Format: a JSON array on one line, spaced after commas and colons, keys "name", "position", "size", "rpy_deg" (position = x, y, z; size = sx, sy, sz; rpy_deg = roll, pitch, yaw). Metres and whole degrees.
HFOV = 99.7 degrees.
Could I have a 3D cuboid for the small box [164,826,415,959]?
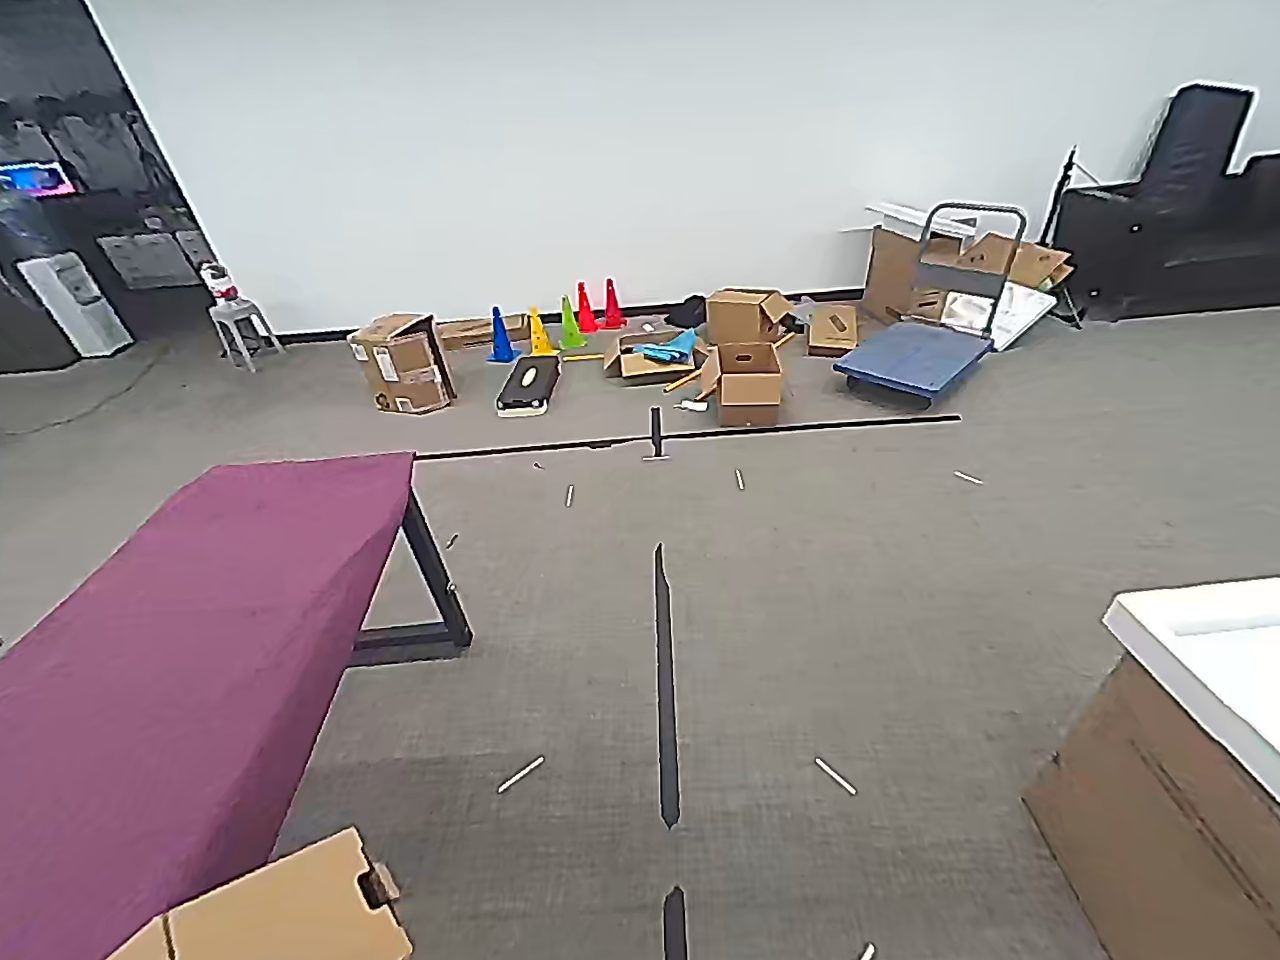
[{"name": "small box", "position": [-0.360, 0.514, 0.548], "size": [0.168, 0.176, 0.179], "rpy_deg": [31, 19, 36]}]
